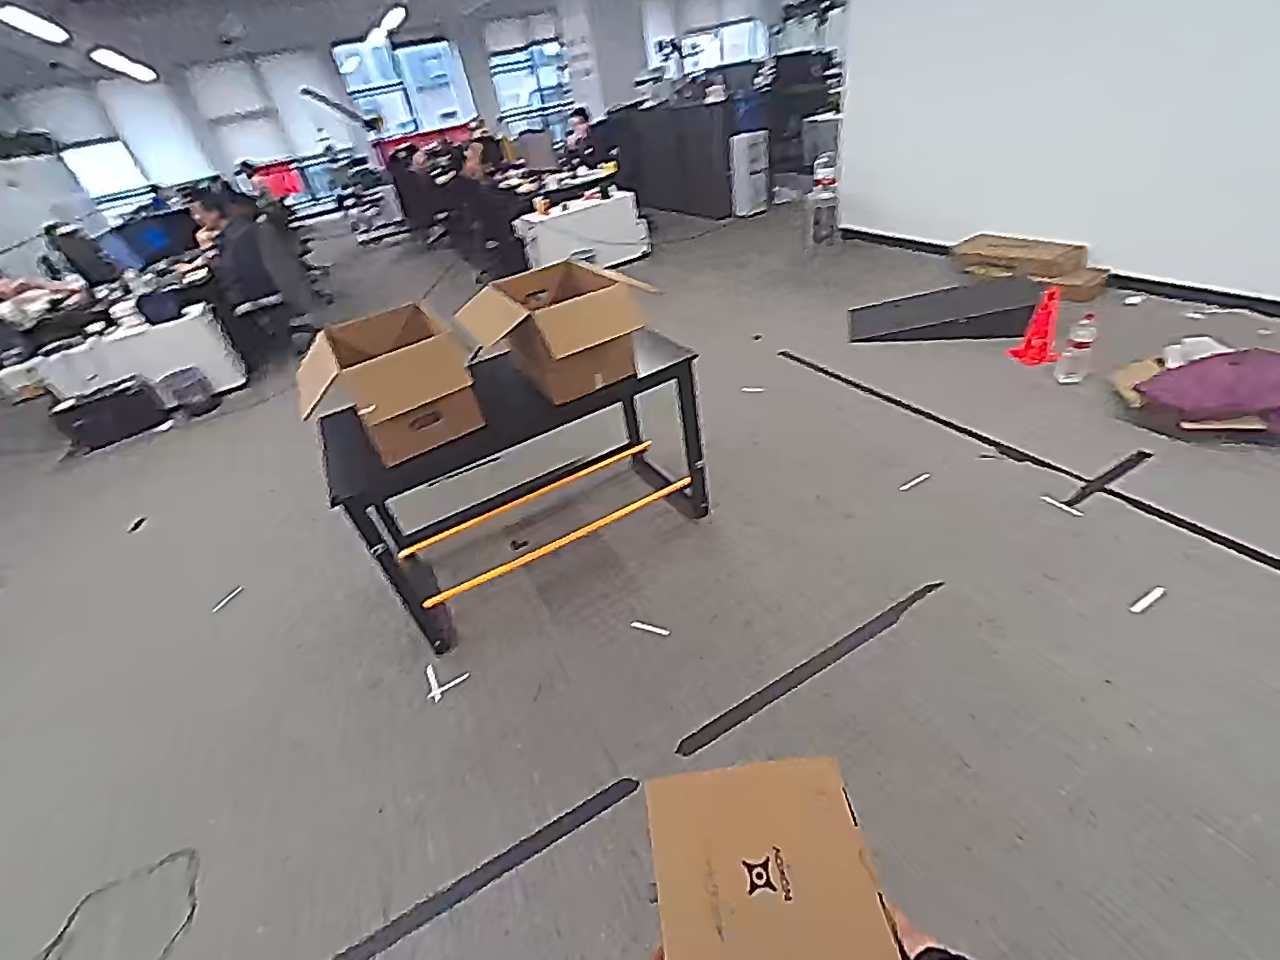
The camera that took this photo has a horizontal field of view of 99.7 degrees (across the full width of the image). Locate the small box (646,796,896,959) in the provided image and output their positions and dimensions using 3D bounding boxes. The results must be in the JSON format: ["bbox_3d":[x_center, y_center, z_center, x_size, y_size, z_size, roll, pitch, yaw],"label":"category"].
[{"bbox_3d":[0.106,0.403,0.477,0.179,0.176,0.168,-10,46,-2],"label":"small box"}]
